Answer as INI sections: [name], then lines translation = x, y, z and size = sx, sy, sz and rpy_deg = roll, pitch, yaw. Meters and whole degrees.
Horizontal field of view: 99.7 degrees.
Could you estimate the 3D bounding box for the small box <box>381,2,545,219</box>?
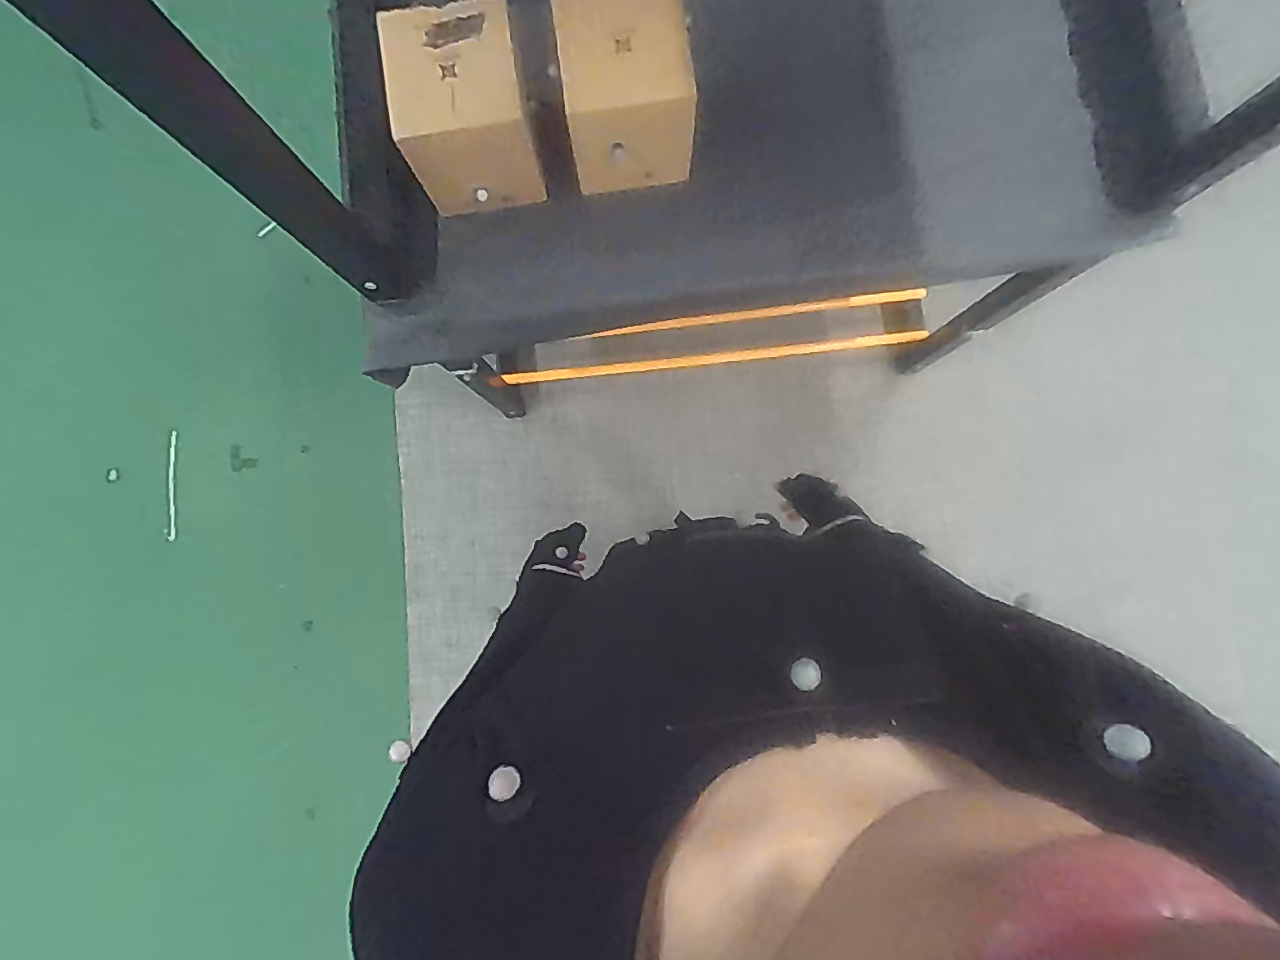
[small box]
translation = -0.236, -0.502, 0.756
size = 0.168, 0.176, 0.179
rpy_deg = -9, 84, 1
